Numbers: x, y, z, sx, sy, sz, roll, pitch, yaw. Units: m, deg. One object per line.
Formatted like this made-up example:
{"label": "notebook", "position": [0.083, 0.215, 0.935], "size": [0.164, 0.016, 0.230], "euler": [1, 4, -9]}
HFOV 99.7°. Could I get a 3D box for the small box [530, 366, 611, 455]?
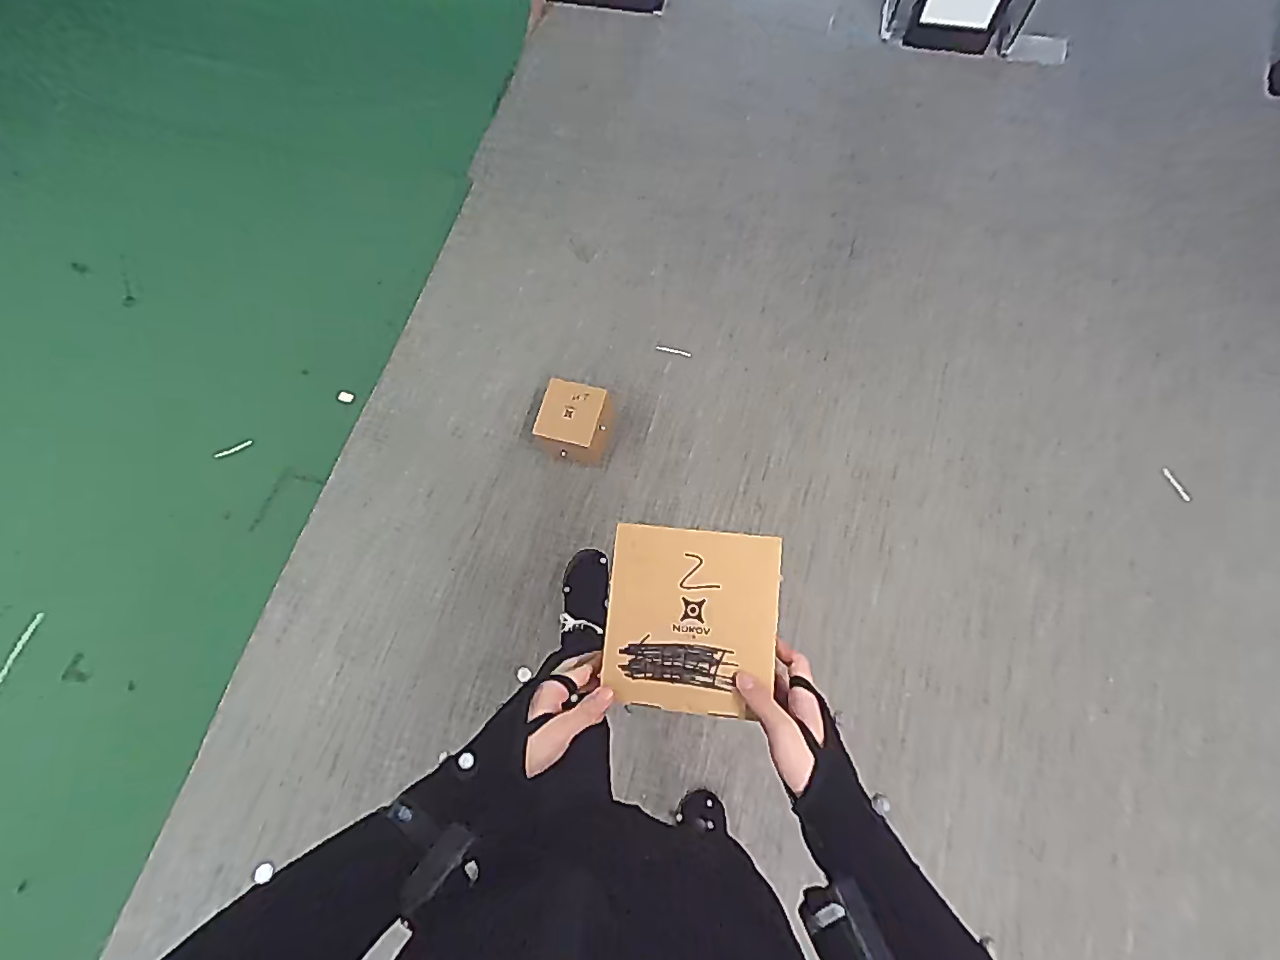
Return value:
{"label": "small box", "position": [-0.185, -0.188, 1.512], "size": [0.168, 0.176, 0.179], "euler": [16, 75, 7]}
